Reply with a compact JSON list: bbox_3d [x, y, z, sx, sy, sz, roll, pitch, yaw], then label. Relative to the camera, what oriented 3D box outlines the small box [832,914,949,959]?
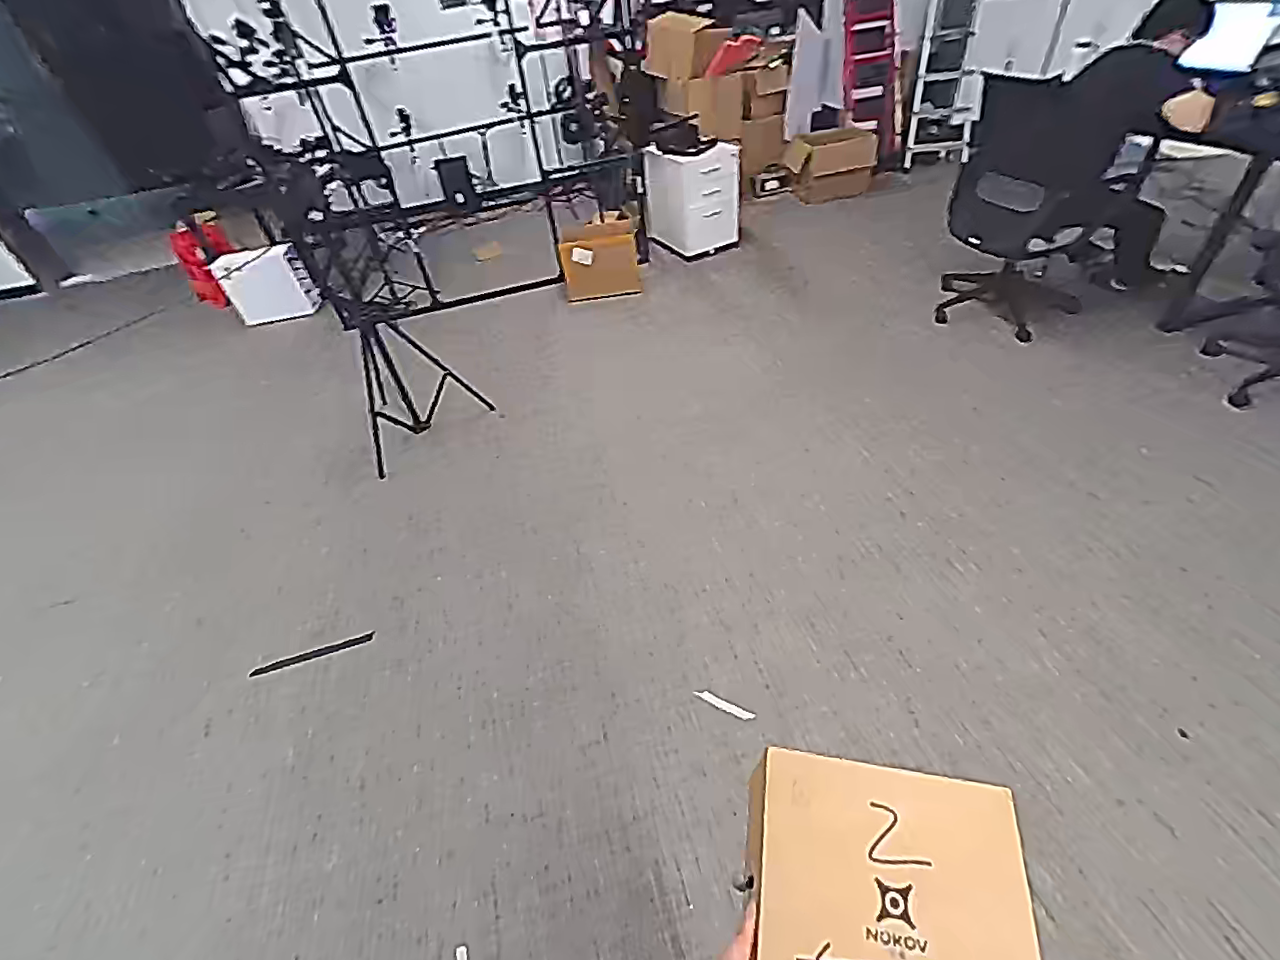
[{"bbox_3d":[0.442,0.882,0.918,0.179,0.176,0.168,-16,42,-8],"label":"small box"}]
